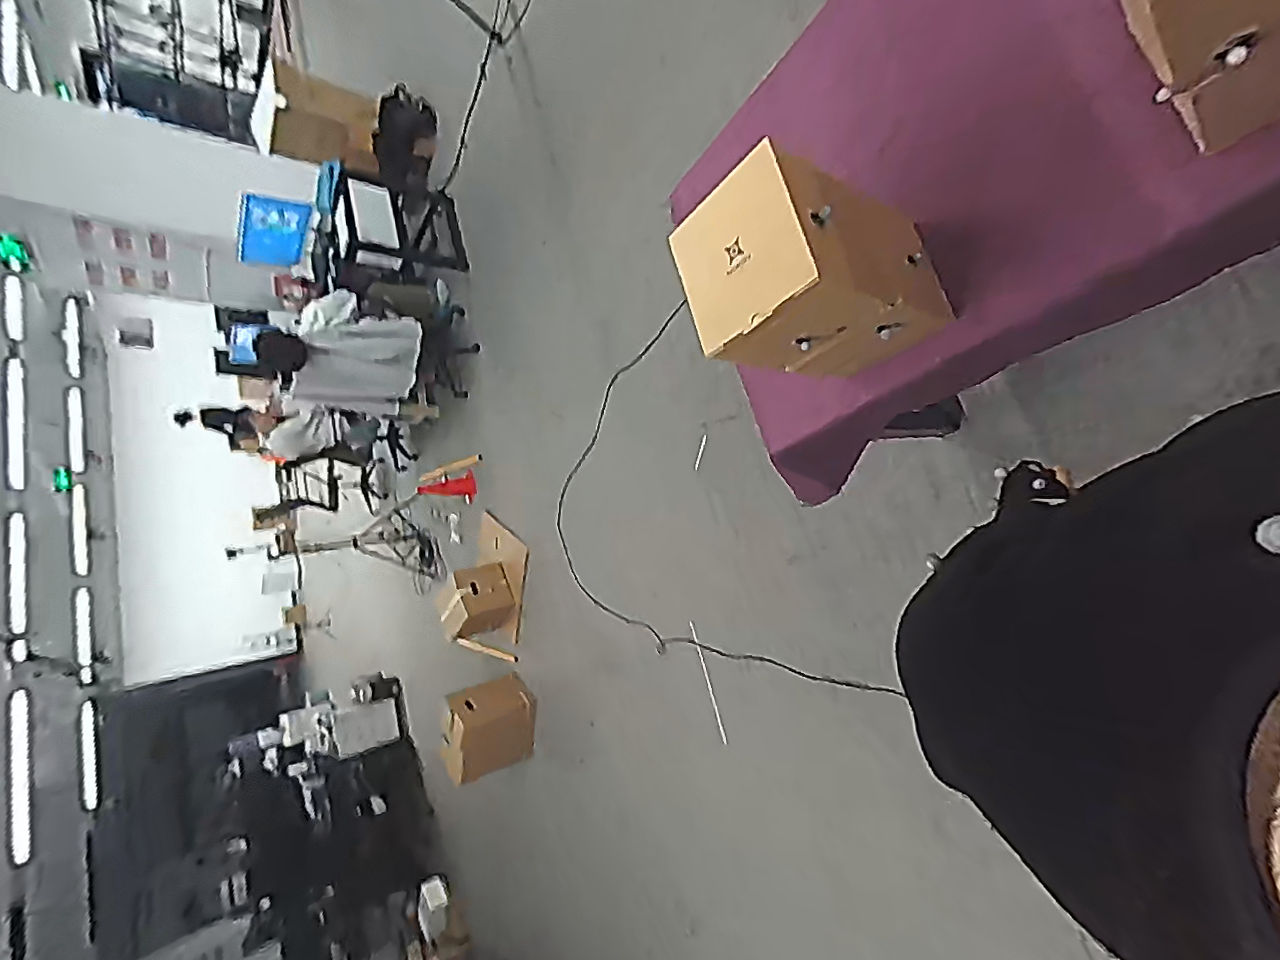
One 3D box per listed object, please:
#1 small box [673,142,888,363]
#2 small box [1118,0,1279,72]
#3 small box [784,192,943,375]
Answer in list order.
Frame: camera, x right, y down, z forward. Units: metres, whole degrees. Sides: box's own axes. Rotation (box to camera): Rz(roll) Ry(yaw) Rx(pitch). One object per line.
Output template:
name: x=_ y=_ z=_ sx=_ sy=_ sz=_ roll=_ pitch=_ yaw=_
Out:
small box: x=0.173 y=-0.263 z=0.672 sx=0.168 sy=0.176 sz=0.179 roll=-29 pitch=72 yaw=47
small box: x=0.416 y=-0.424 z=0.362 sx=0.168 sy=0.176 sz=0.179 roll=-26 pitch=73 yaw=48
small box: x=0.302 y=-0.264 z=0.772 sx=0.179 sy=0.176 sz=0.168 roll=-30 pitch=70 yaw=47
